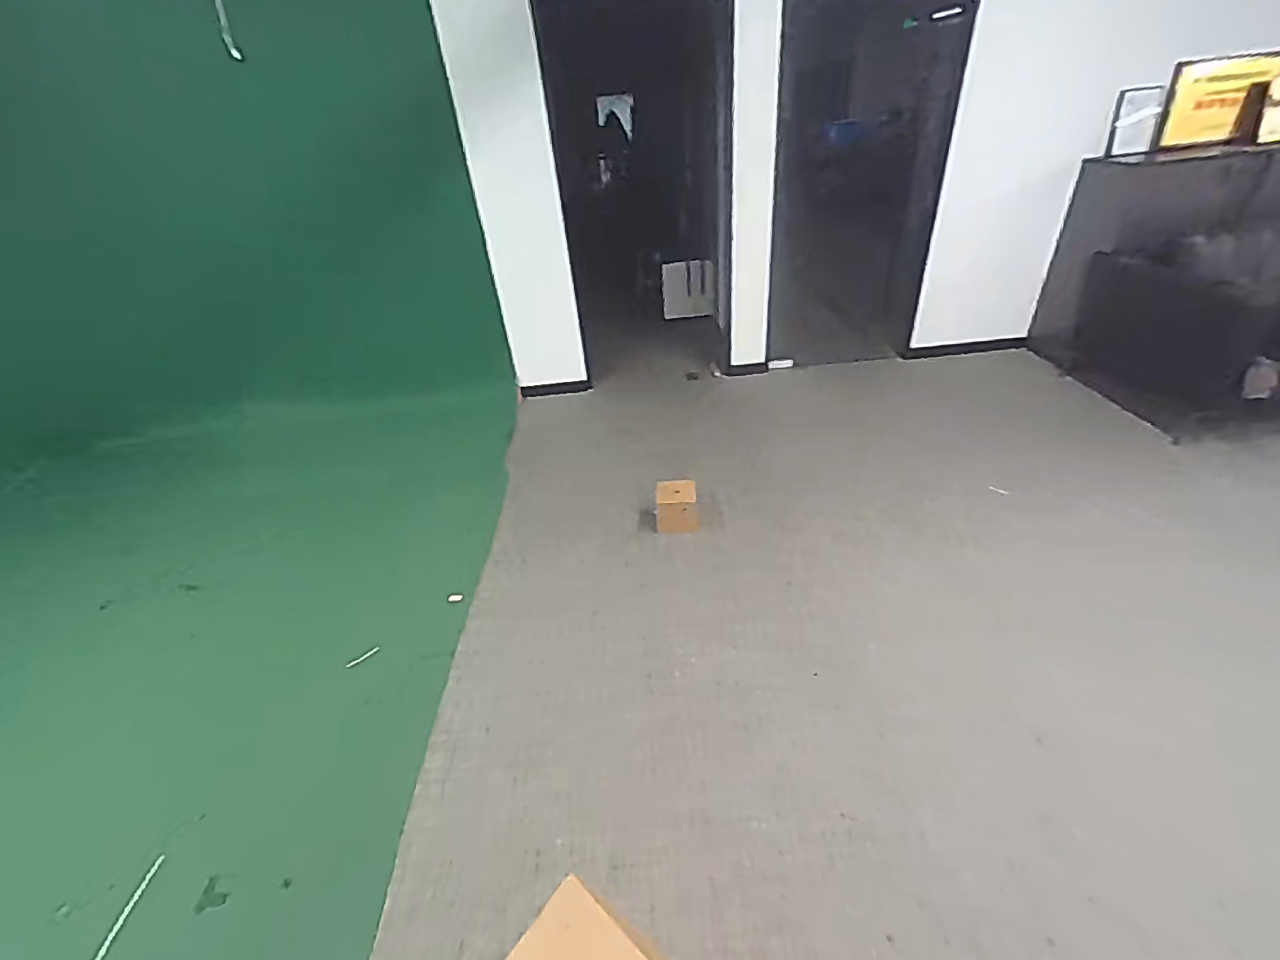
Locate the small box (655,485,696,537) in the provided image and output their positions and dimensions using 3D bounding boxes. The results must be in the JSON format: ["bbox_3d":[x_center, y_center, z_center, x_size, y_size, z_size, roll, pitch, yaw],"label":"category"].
[{"bbox_3d":[0.159,0.137,2.383,0.179,0.176,0.168,-2,34,6],"label":"small box"}]
